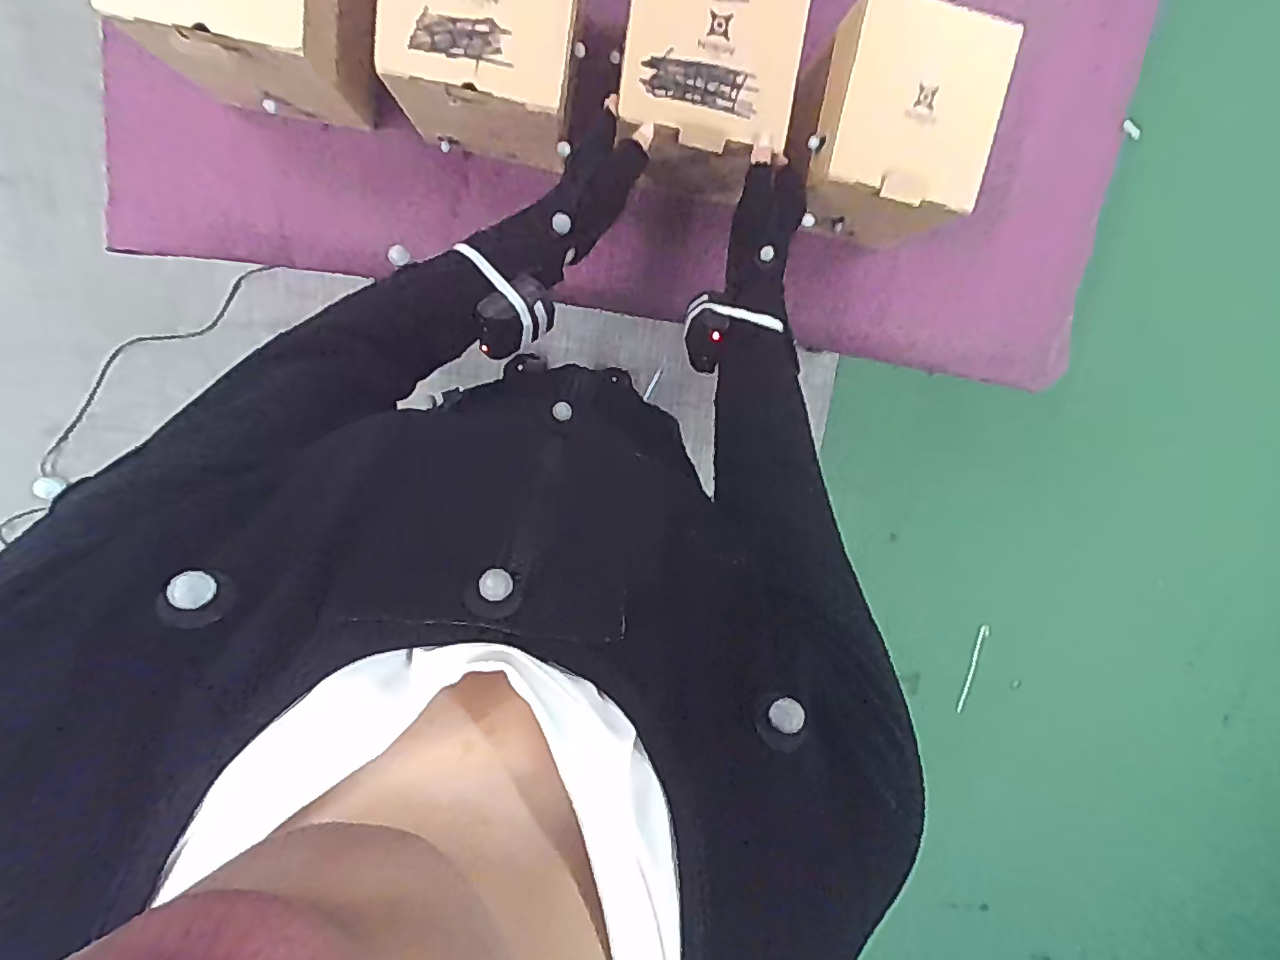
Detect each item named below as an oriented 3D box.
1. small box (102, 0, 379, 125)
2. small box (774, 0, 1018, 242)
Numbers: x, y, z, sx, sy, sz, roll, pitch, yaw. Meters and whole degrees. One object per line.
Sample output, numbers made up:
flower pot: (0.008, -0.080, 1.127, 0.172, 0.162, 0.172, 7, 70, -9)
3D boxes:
small box: (-0.366, -0.484, 0.519, 0.168, 0.176, 0.179, 7, 102, -8)
small box: (0.270, -0.394, 0.615, 0.168, 0.176, 0.179, 9, 101, -9)
